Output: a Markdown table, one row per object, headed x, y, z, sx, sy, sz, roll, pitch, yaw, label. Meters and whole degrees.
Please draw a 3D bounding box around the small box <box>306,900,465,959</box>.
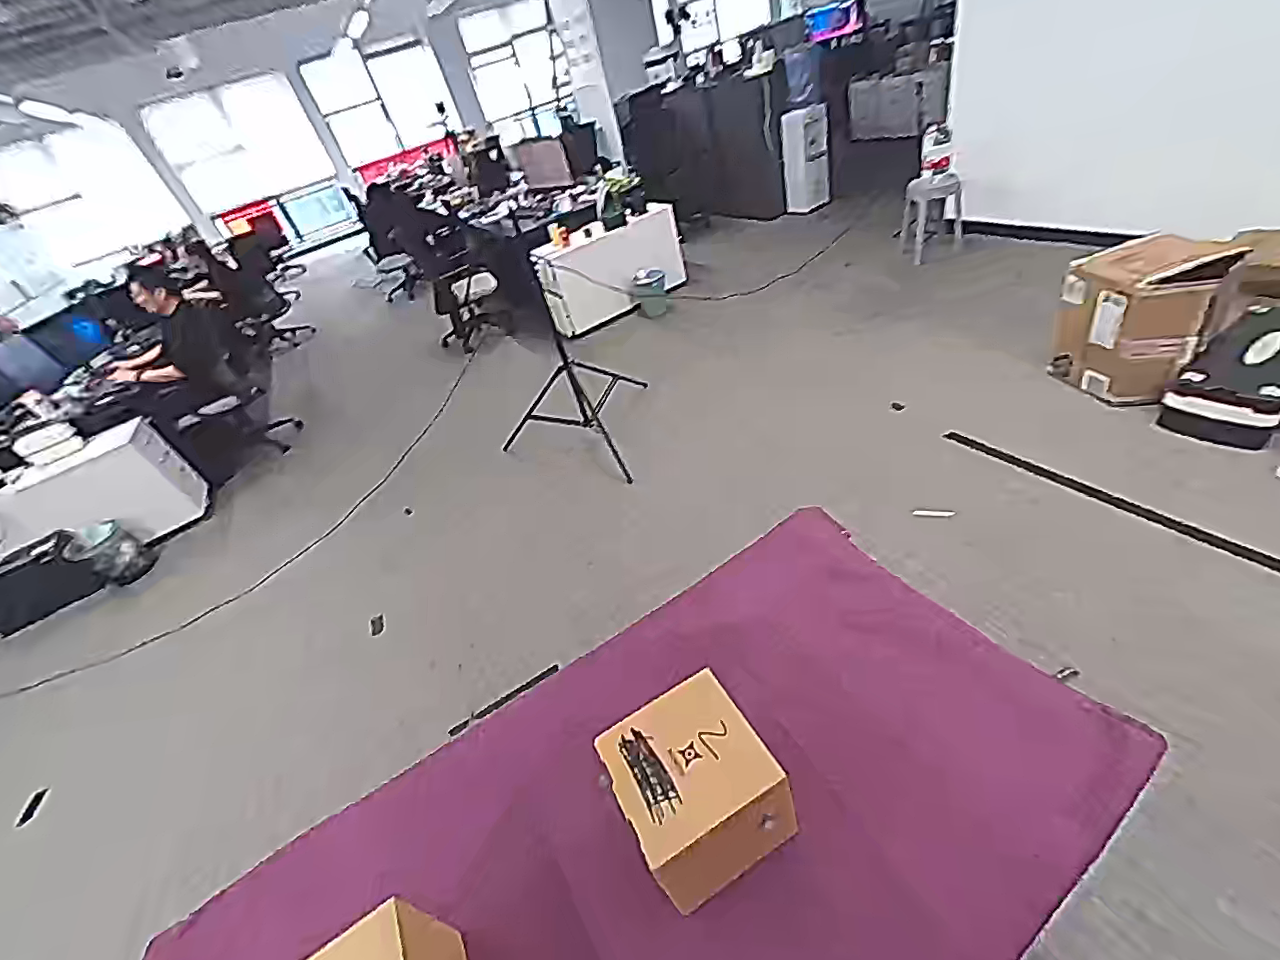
| x | y | z | sx | sy | sz | roll | pitch | yaw | label |
| --- | --- | --- | --- | --- | --- | --- | --- | --- | --- |
| -0.277 | 0.598 | 0.561 | 0.168 | 0.176 | 0.179 | -30 | 39 | -16 | small box |
